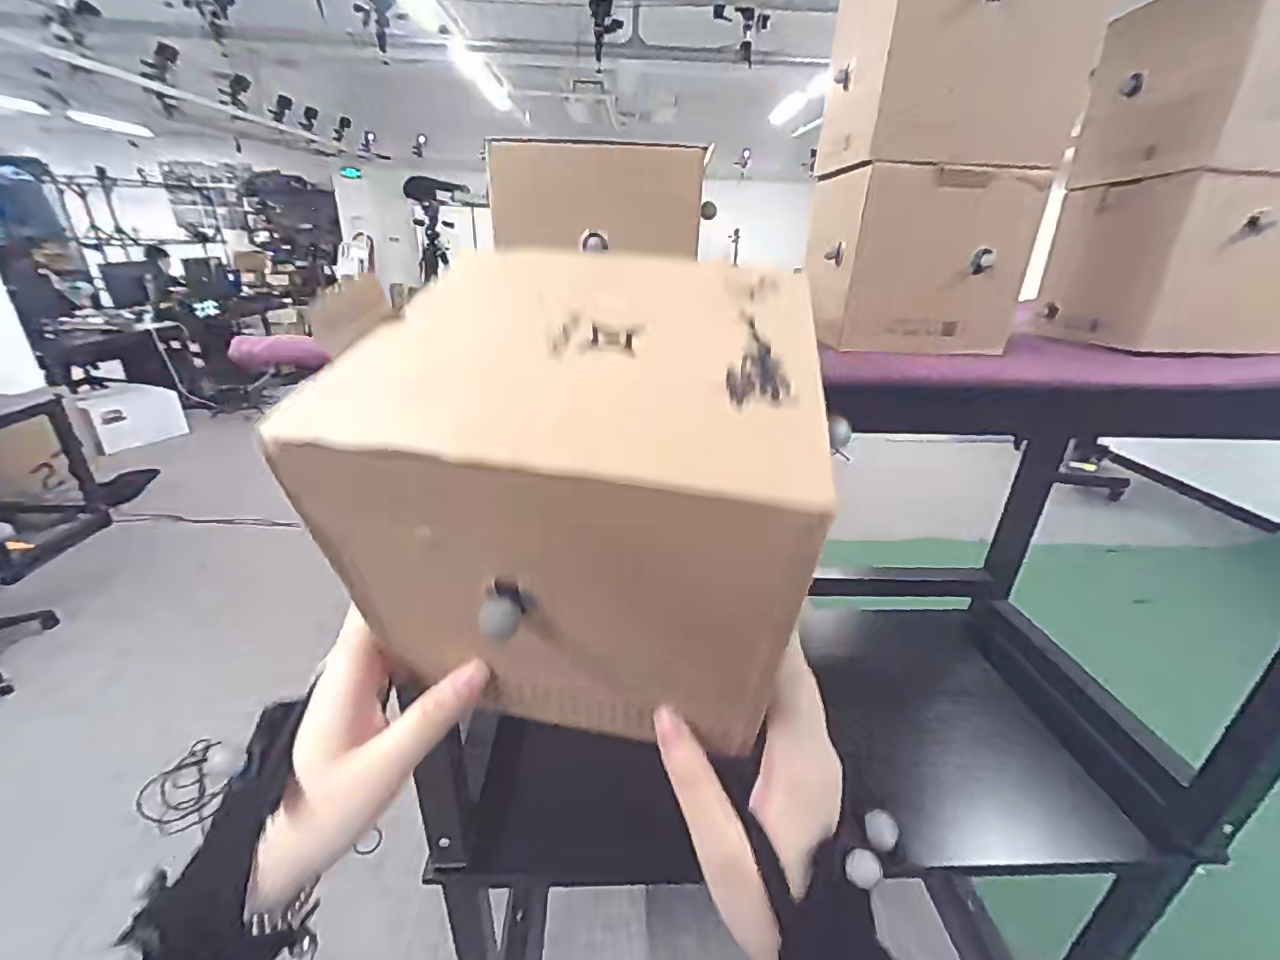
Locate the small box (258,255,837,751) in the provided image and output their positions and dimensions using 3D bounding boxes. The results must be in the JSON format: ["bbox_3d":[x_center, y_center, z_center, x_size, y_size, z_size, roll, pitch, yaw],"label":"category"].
[{"bbox_3d":[-0.017,0.006,0.262,0.179,0.176,0.168,6,42,8],"label":"small box"}]

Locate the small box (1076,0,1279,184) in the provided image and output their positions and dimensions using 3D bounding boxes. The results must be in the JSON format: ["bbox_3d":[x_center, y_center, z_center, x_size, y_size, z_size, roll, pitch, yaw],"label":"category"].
[{"bbox_3d":[0.589,-0.394,0.543,0.179,0.176,0.168,0,22,-3],"label":"small box"}]

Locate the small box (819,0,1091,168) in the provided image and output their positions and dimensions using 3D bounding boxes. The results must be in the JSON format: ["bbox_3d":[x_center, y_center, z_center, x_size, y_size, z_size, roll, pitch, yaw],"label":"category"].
[{"bbox_3d":[0.281,-0.387,0.511,0.179,0.176,0.168,2,25,-1],"label":"small box"}]

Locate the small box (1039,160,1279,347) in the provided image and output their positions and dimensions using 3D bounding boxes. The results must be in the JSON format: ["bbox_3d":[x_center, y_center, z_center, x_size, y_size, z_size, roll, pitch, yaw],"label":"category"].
[{"bbox_3d":[0.588,-0.242,0.600,0.179,0.176,0.168,0,22,-3],"label":"small box"}]

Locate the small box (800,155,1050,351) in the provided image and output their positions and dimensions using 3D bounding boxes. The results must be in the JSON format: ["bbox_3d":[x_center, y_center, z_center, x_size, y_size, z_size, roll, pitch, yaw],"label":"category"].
[{"bbox_3d":[0.276,-0.236,0.577,0.168,0.176,0.179,2,23,-2],"label":"small box"}]
